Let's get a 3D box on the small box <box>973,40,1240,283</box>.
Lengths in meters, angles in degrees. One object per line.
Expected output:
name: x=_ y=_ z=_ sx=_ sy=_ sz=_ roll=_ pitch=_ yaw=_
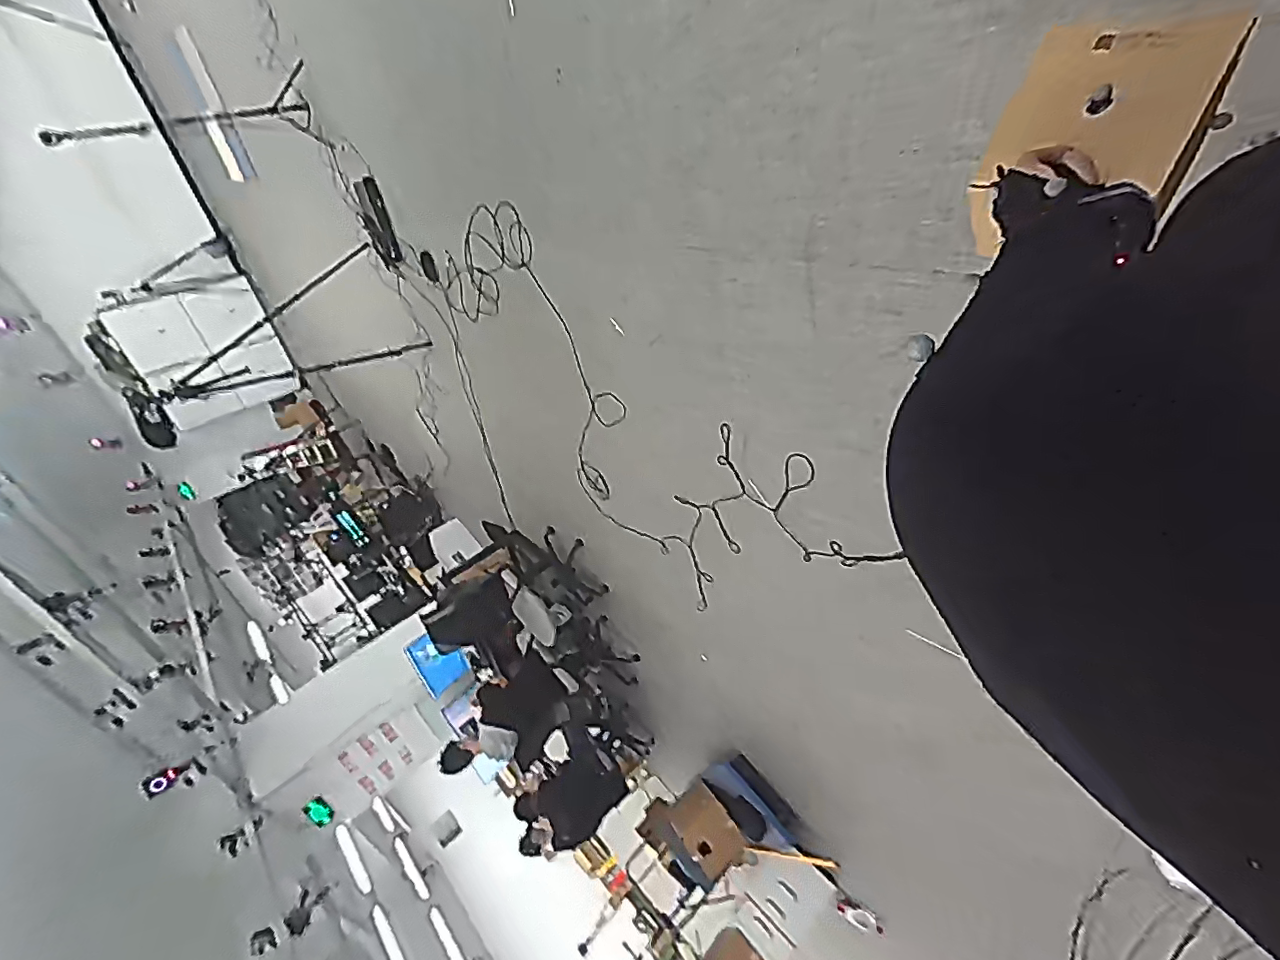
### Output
small box: x=0.503 y=-0.350 z=0.604 sx=0.168 sy=0.179 sz=0.176 roll=30 pitch=100 yaw=36
